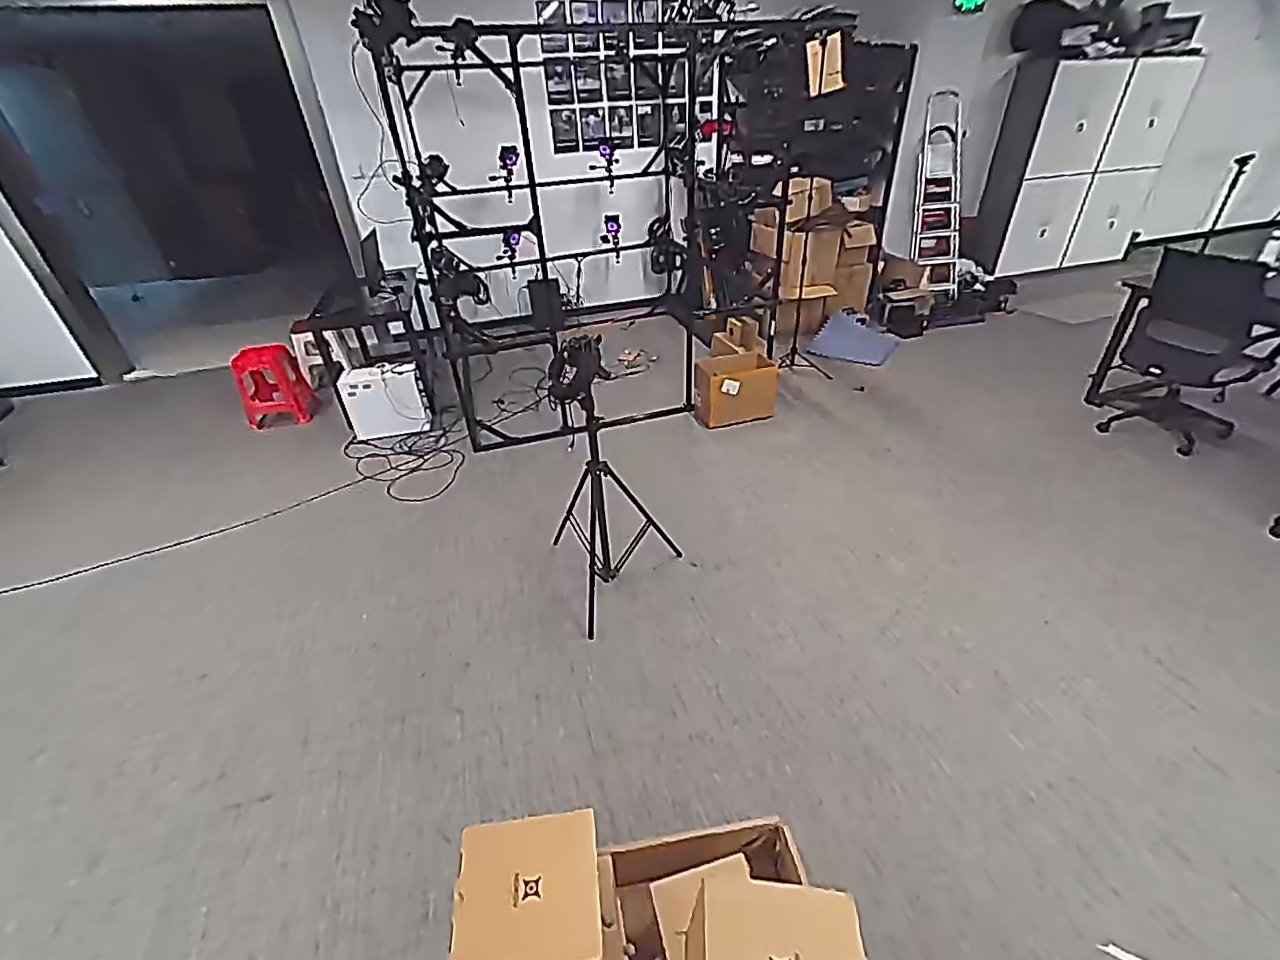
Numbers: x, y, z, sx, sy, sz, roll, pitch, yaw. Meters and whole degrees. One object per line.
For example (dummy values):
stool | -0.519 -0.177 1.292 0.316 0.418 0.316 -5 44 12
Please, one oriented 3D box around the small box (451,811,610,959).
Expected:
small box | -0.131 0.566 0.699 0.179 0.176 0.168 -6 33 -6

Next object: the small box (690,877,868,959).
small box | 0.146 0.574 0.590 0.179 0.176 0.168 6 32 2
